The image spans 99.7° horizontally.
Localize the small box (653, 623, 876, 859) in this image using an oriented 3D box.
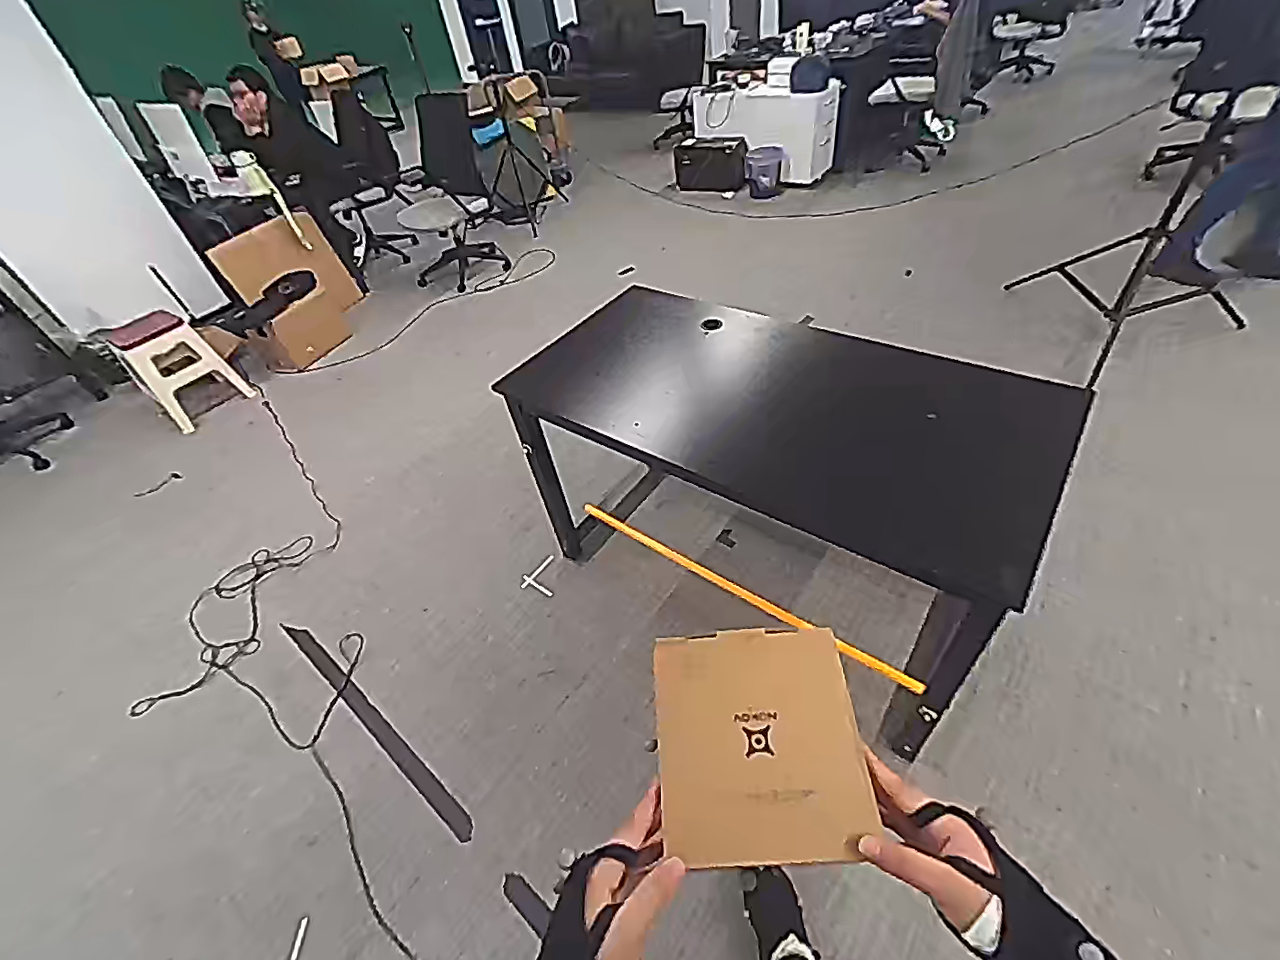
[{"bbox_3d":[0.100,0.256,0.523,0.168,0.176,0.179,-5,55,2],"label":"small box"}]
